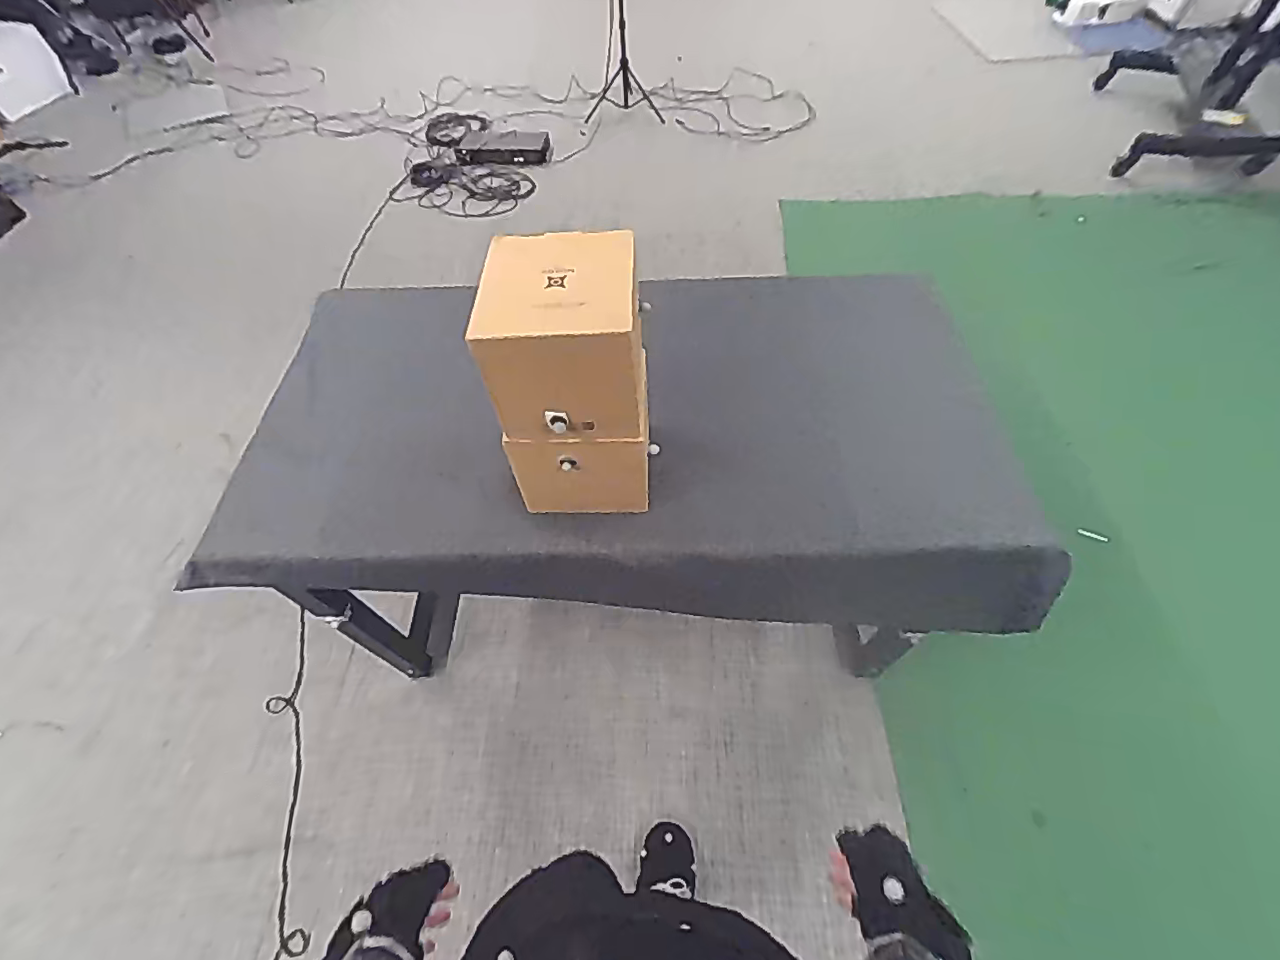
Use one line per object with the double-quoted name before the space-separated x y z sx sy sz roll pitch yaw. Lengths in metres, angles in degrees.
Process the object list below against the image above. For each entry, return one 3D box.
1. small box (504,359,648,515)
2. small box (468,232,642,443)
"small box" -0.080 -0.058 0.784 0.179 0.176 0.168 0 56 2
"small box" -0.086 -0.164 0.641 0.168 0.176 0.179 -3 57 2
